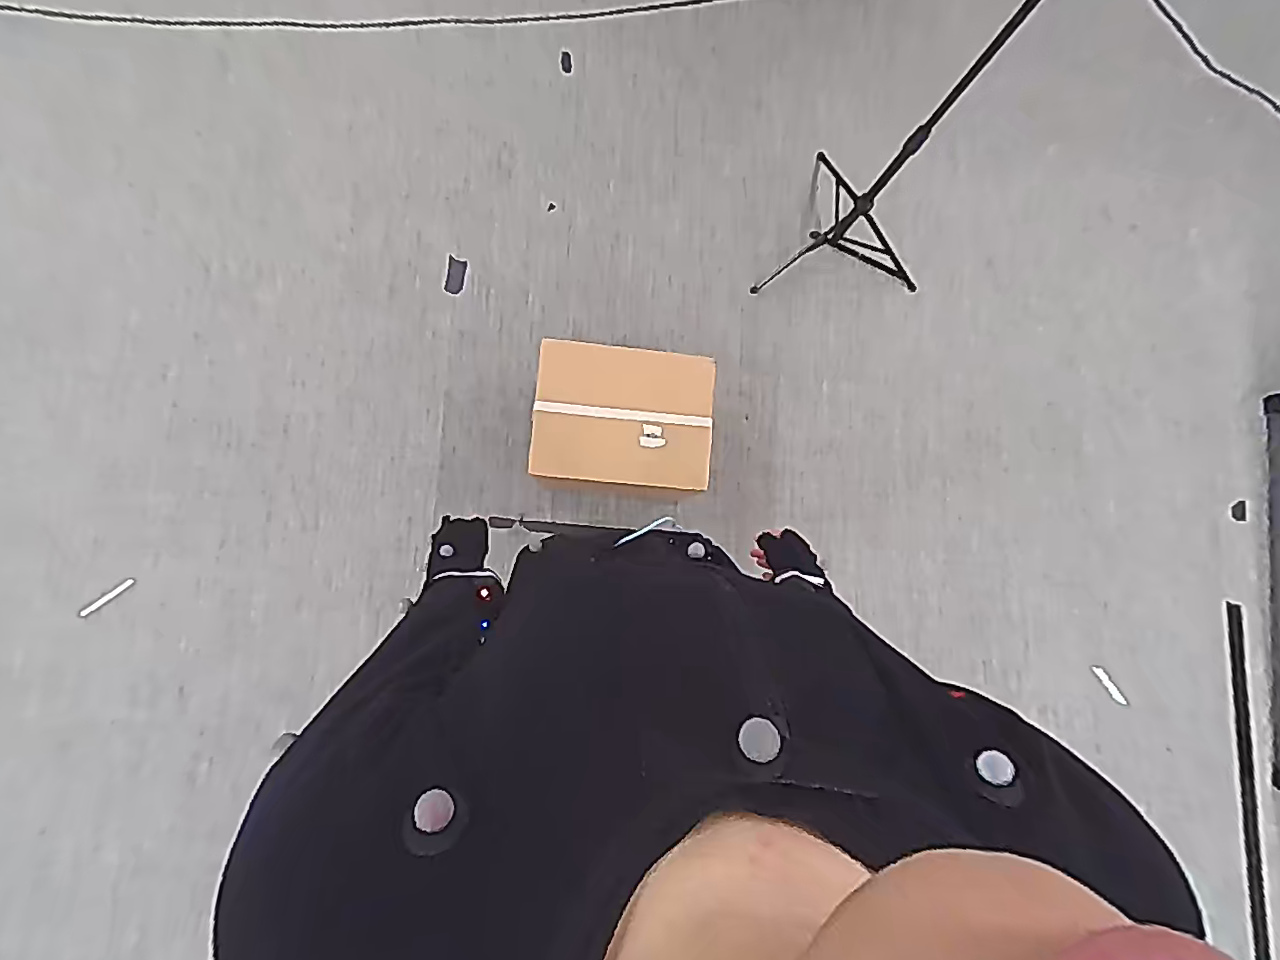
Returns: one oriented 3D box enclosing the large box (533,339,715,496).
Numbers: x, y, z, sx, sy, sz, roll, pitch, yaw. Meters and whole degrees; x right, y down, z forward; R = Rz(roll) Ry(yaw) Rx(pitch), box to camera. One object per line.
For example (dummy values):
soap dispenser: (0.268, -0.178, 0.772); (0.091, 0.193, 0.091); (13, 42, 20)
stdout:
large box: (-0.049, -0.138, 1.376); (0.408, 0.320, 0.320); (6, 84, -6)
